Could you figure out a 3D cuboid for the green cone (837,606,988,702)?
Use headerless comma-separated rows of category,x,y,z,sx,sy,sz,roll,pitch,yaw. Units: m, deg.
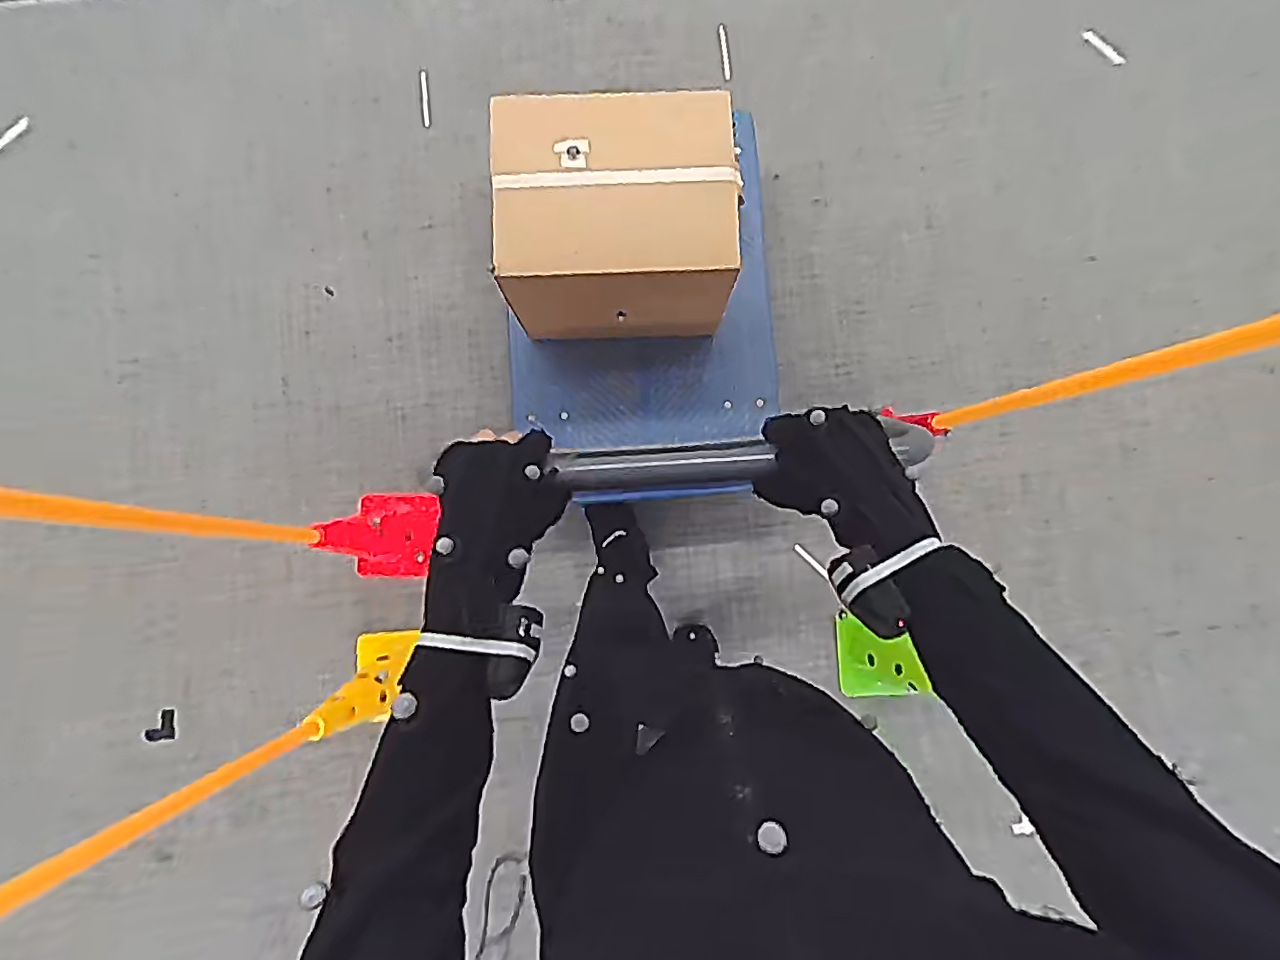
green cone,0.574,0.386,1.109,0.202,0.368,0.200,-3,84,-1

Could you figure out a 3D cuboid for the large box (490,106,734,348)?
large box,-0.047,-0.460,1.054,0.408,0.320,0.320,-3,85,0

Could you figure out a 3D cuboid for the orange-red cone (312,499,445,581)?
orange-red cone,-0.575,0.123,1.143,0.198,0.360,0.199,1,83,-1

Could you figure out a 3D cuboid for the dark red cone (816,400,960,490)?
dark red cone,0.538,-0.097,1.141,0.201,0.394,0.202,-6,85,-2
